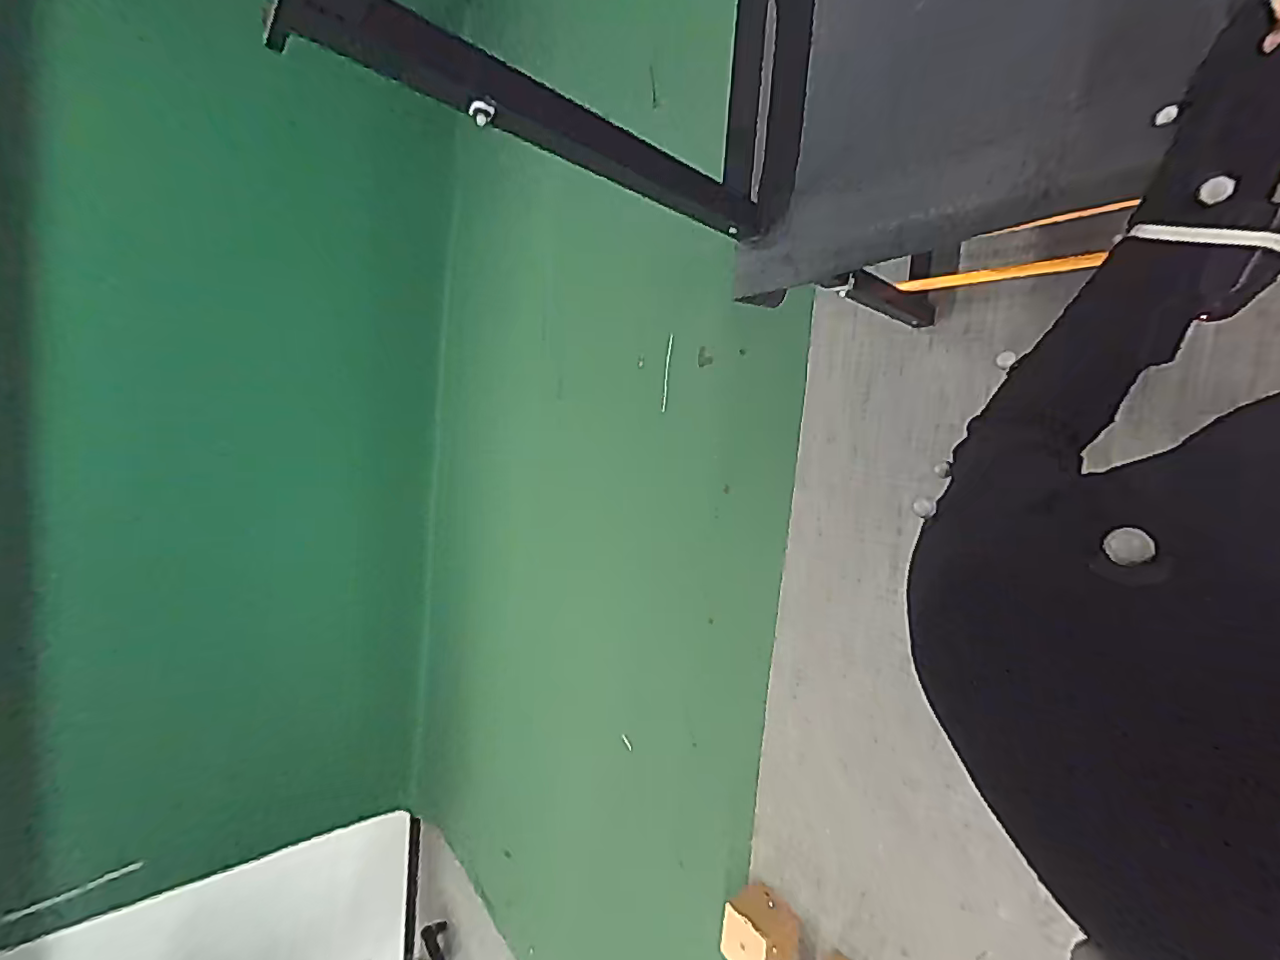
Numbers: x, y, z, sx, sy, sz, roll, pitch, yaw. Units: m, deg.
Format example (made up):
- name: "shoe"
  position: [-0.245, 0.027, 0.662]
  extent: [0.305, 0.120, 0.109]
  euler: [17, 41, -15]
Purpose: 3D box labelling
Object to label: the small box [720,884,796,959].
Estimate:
- name: "small box"
  position: [0.379, 1.455, 1.726]
  extent: [0.168, 0.176, 0.179]
  euler: [10, 96, 48]
